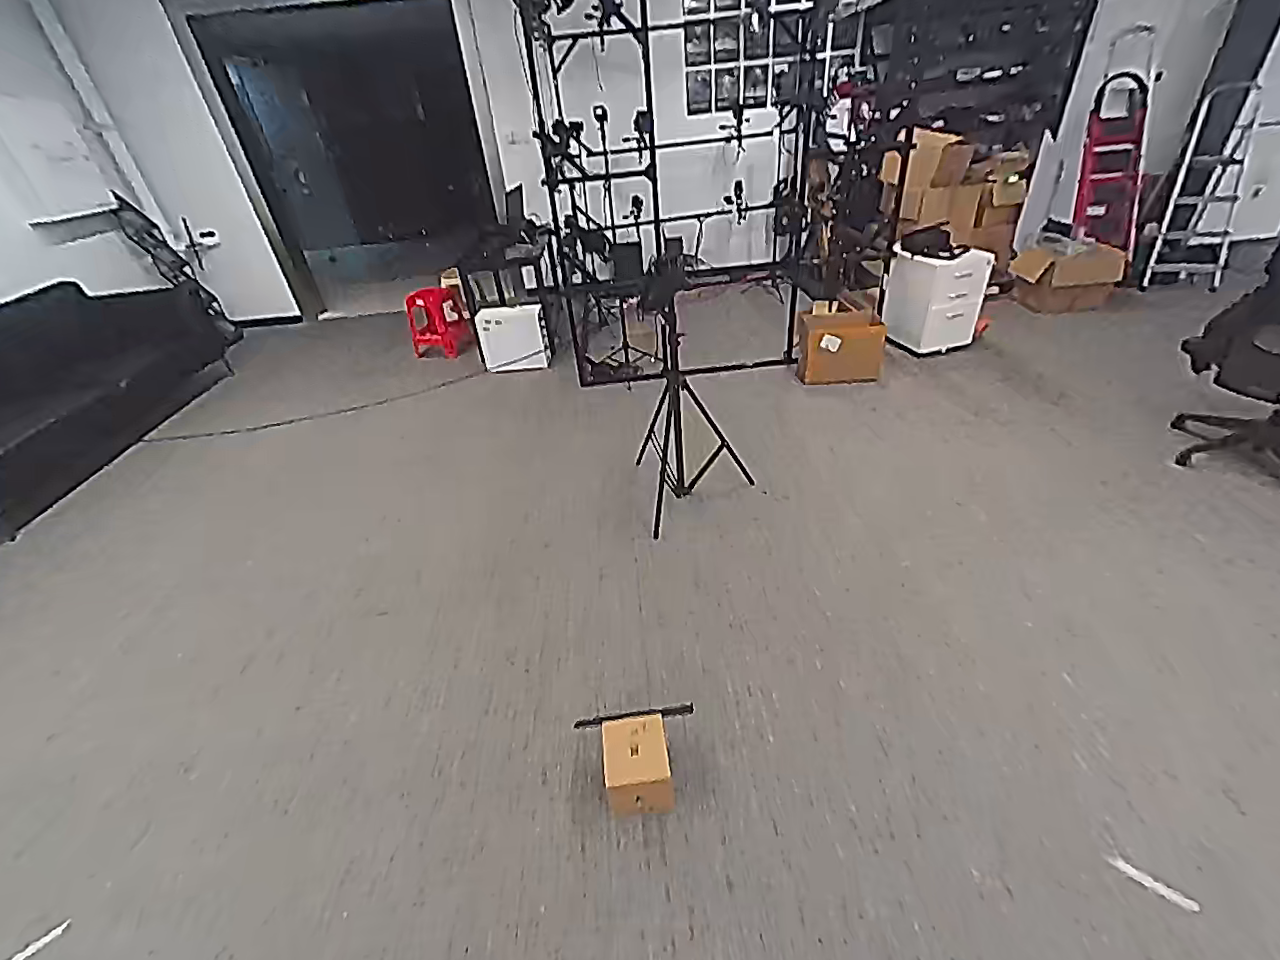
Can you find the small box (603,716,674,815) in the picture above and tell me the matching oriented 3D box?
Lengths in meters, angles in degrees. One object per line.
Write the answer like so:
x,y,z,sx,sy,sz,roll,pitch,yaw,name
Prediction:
-0.004,0.763,1.437,0.168,0.176,0.179,-8,34,-2,small box
